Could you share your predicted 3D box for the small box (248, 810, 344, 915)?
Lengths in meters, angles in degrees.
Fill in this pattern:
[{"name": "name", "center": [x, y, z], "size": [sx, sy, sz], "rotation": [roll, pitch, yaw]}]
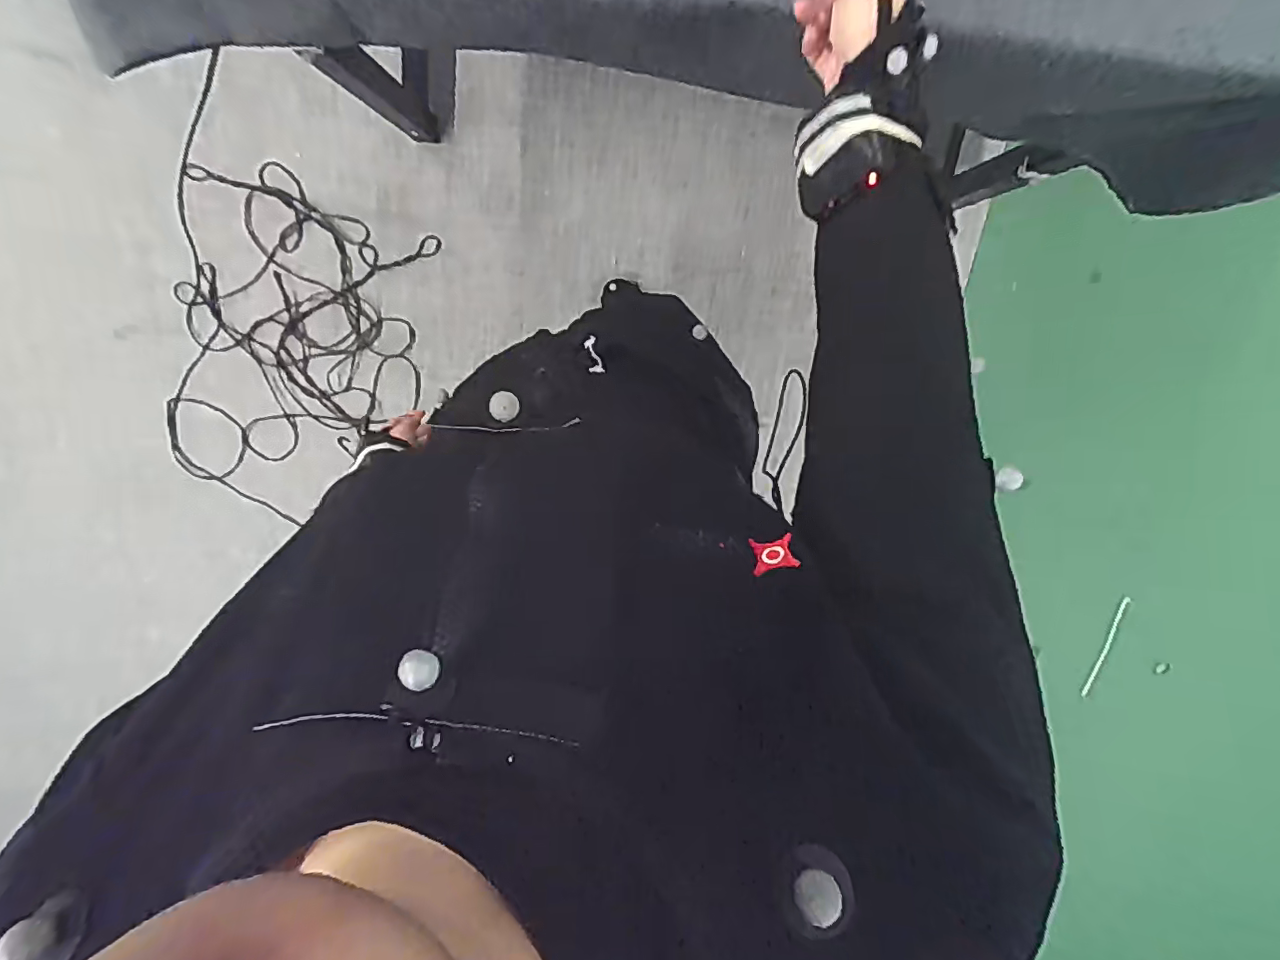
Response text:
[{"name": "small box", "center": [-1.040, 1.159, 1.646], "size": [0.168, 0.176, 0.179], "rotation": [25, 105, -6]}]
